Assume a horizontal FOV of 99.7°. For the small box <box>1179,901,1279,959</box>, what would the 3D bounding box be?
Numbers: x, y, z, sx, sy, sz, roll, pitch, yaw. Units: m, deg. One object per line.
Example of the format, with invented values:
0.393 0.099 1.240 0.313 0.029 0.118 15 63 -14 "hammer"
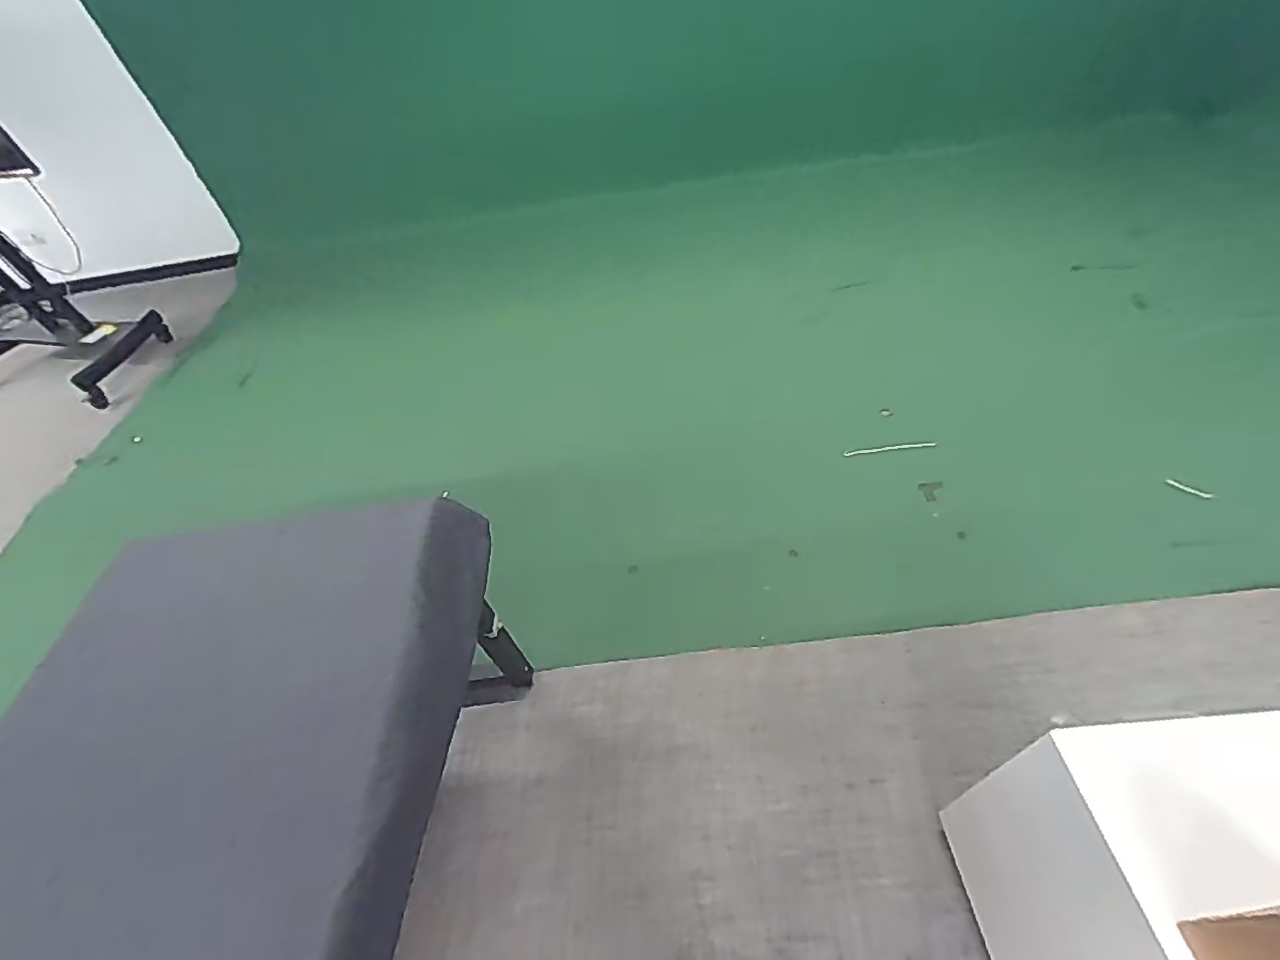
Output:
0.664 0.477 0.480 0.179 0.176 0.168 -11 47 2 "small box"
